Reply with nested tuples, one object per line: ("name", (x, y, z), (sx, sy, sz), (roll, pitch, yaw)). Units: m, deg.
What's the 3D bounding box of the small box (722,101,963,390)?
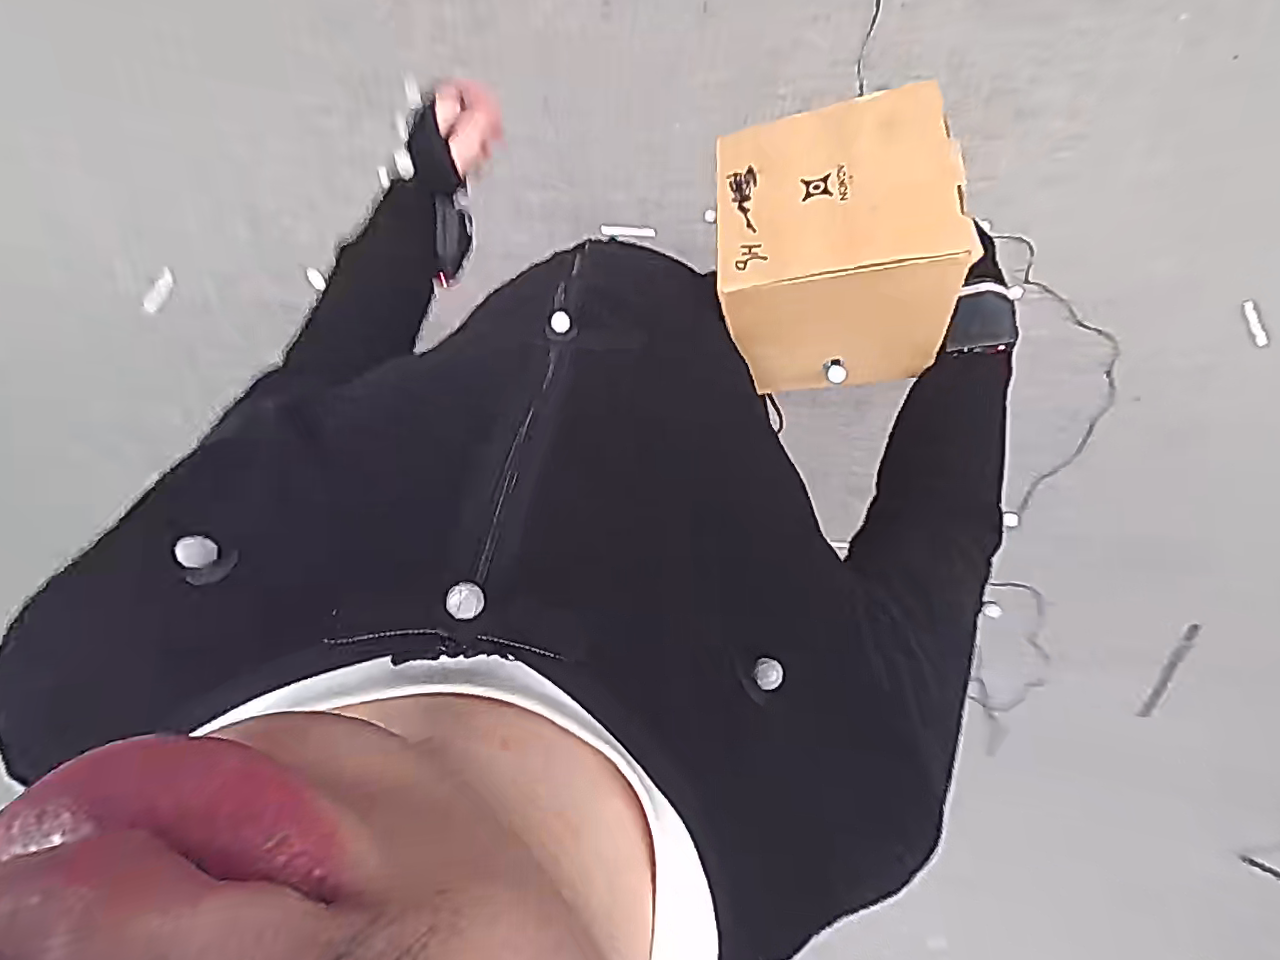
("small box", (0.175, -0.201, 0.509), (0.179, 0.176, 0.168), (-4, 69, 17))
